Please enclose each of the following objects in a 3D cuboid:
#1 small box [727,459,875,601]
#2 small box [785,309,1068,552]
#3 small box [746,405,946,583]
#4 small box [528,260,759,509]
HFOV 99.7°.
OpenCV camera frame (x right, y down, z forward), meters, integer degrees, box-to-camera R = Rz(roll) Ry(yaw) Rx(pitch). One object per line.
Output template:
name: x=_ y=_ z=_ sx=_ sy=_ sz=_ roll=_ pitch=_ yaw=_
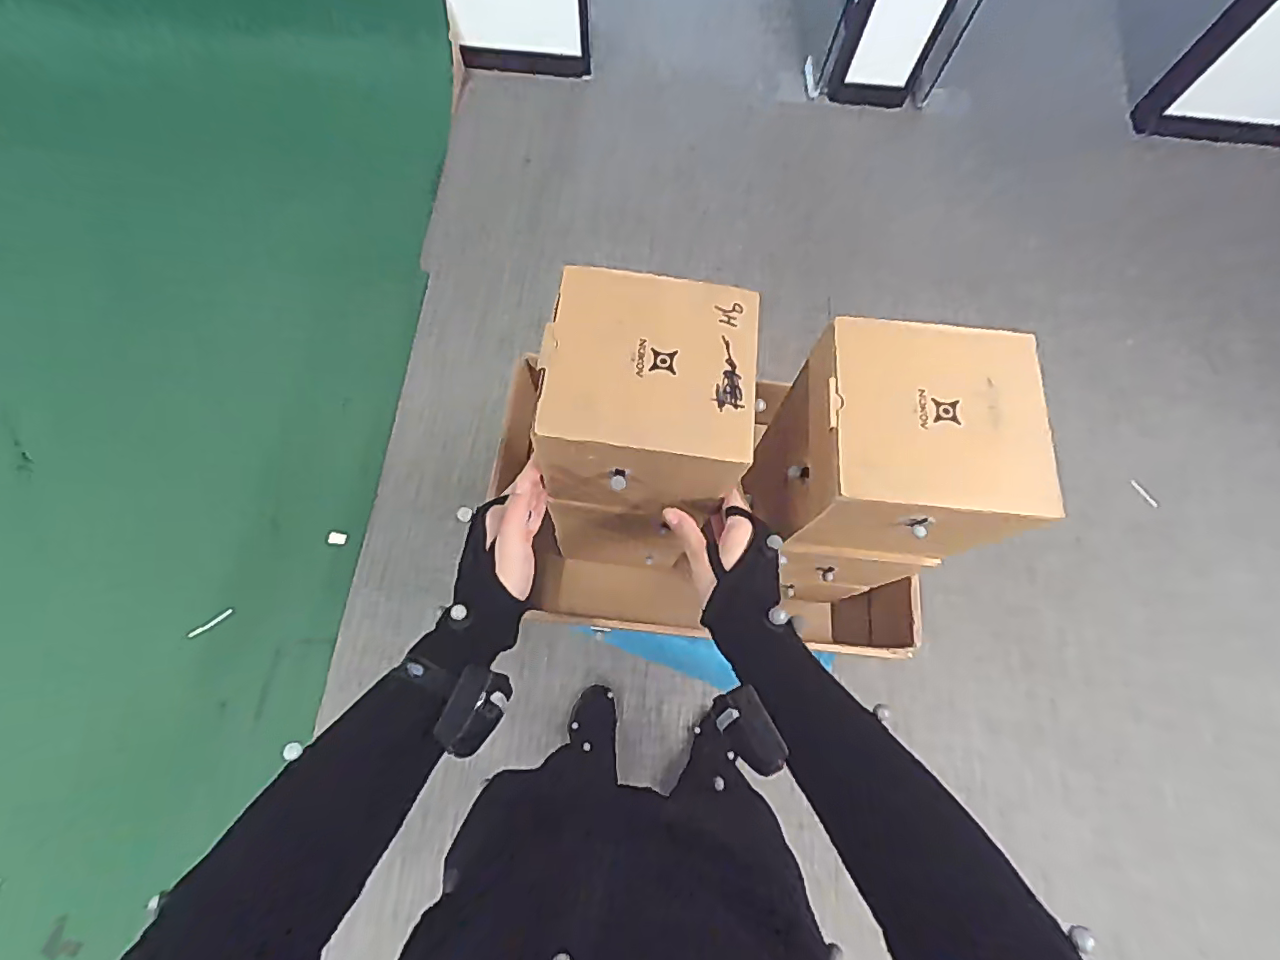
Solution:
small box: x=0.231 y=0.082 z=0.810 sx=0.179 sy=0.176 sz=0.168 roll=7 pitch=71 yaw=2
small box: x=0.240 y=-0.034 z=0.505 sx=0.179 sy=0.176 sz=0.168 roll=6 pitch=71 yaw=1
small box: x=0.235 y=0.026 z=0.656 sx=0.179 sy=0.176 sz=0.168 roll=5 pitch=70 yaw=2
small box: x=0.005 y=-0.078 z=0.515 sx=0.179 sy=0.176 sz=0.168 roll=7 pitch=71 yaw=-1
